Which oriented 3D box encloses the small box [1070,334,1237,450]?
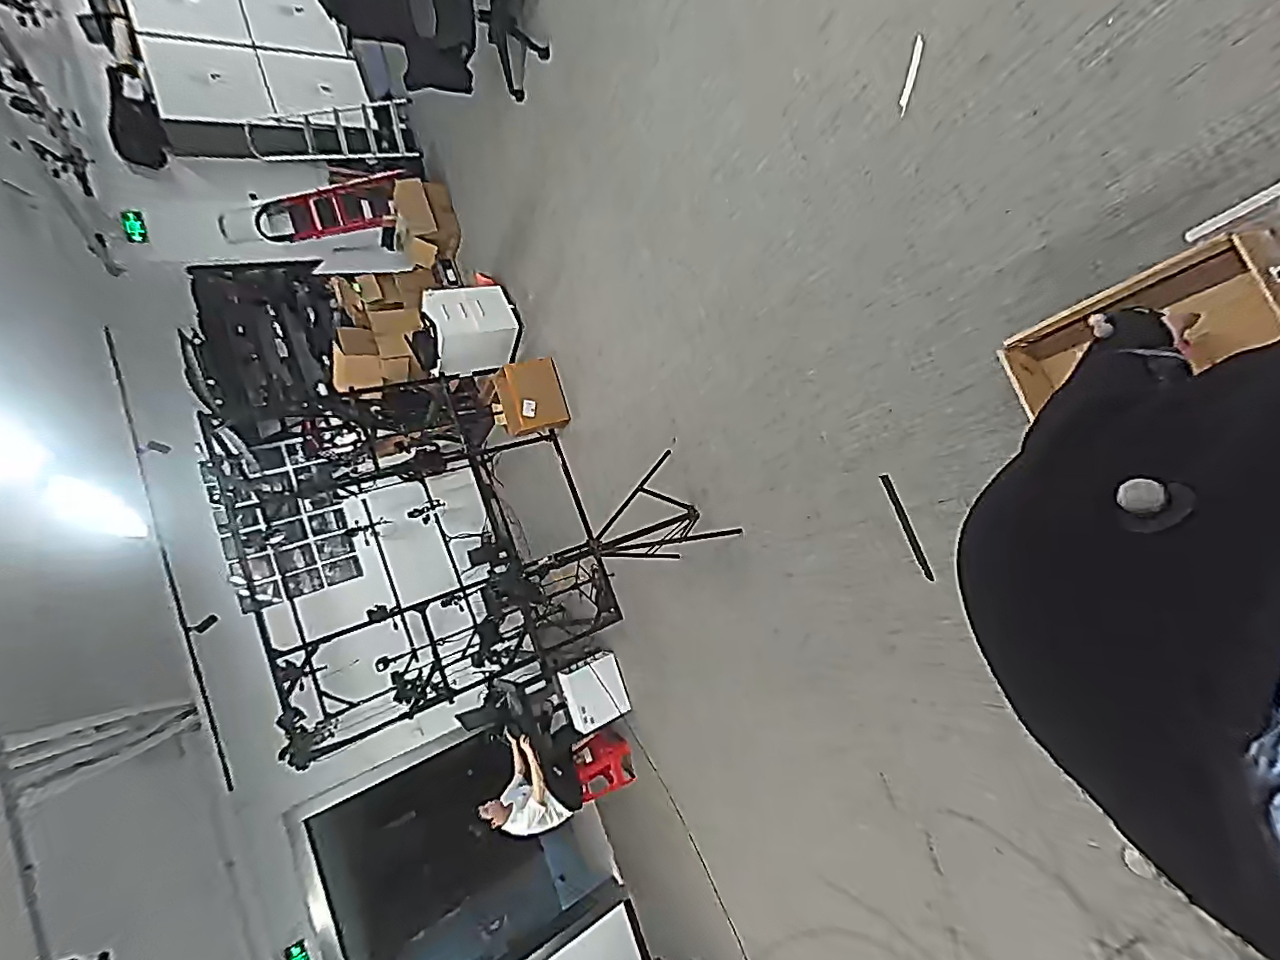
[{"bbox_3d":[1.005,-0.171,1.061,0.179,0.176,0.168,-22,86,60],"label":"small box"}]
